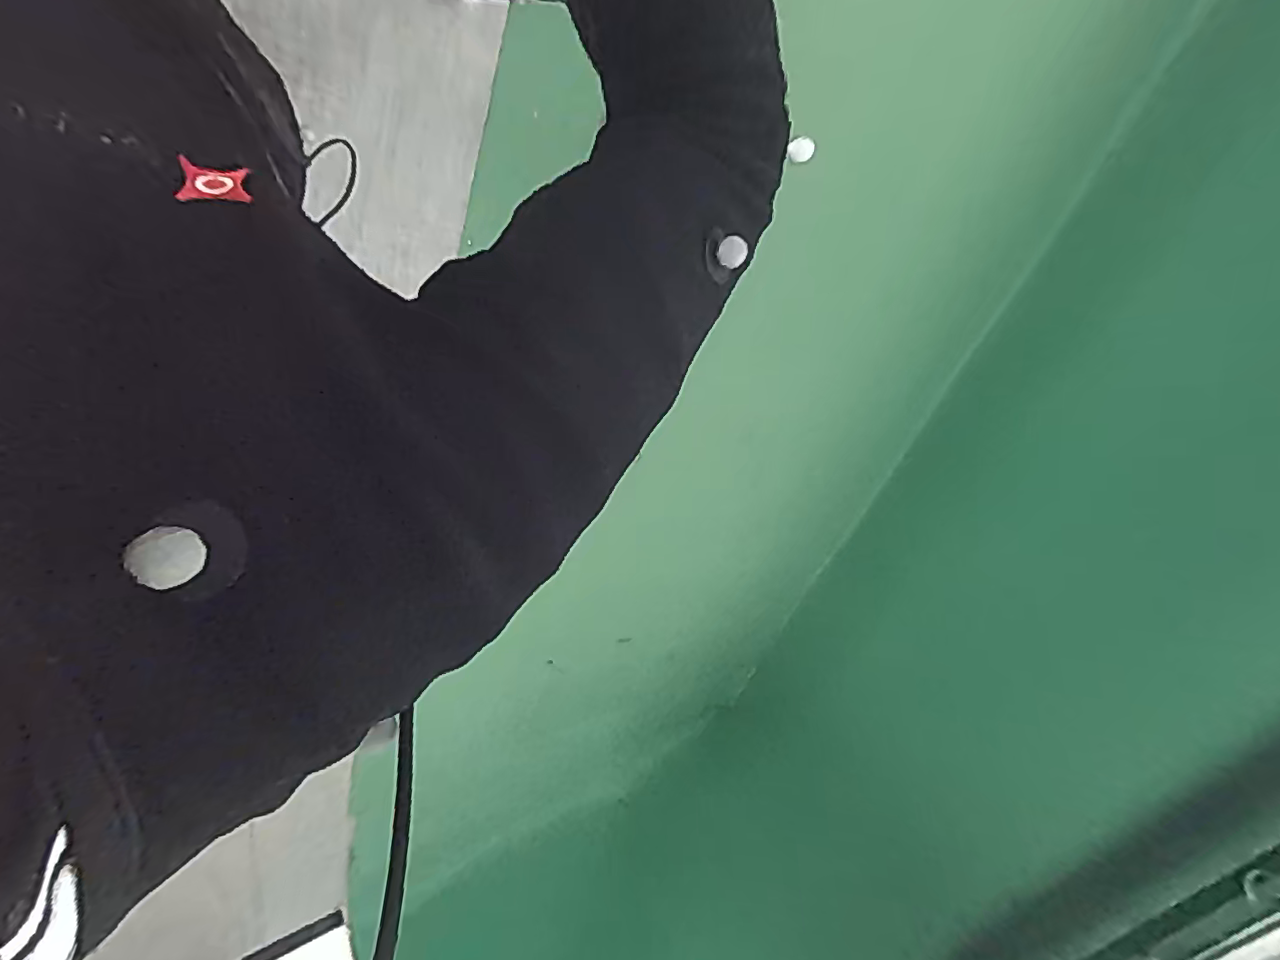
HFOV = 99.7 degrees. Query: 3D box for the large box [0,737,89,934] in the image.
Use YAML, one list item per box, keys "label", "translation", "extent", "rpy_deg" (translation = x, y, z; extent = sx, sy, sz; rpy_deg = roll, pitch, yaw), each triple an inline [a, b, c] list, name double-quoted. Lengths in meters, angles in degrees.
- label: "large box"
  translation: [-1.627, 0.891, 1.279]
  extent: [0.408, 0.320, 0.320]
  rpy_deg: [-5, 127, -38]
